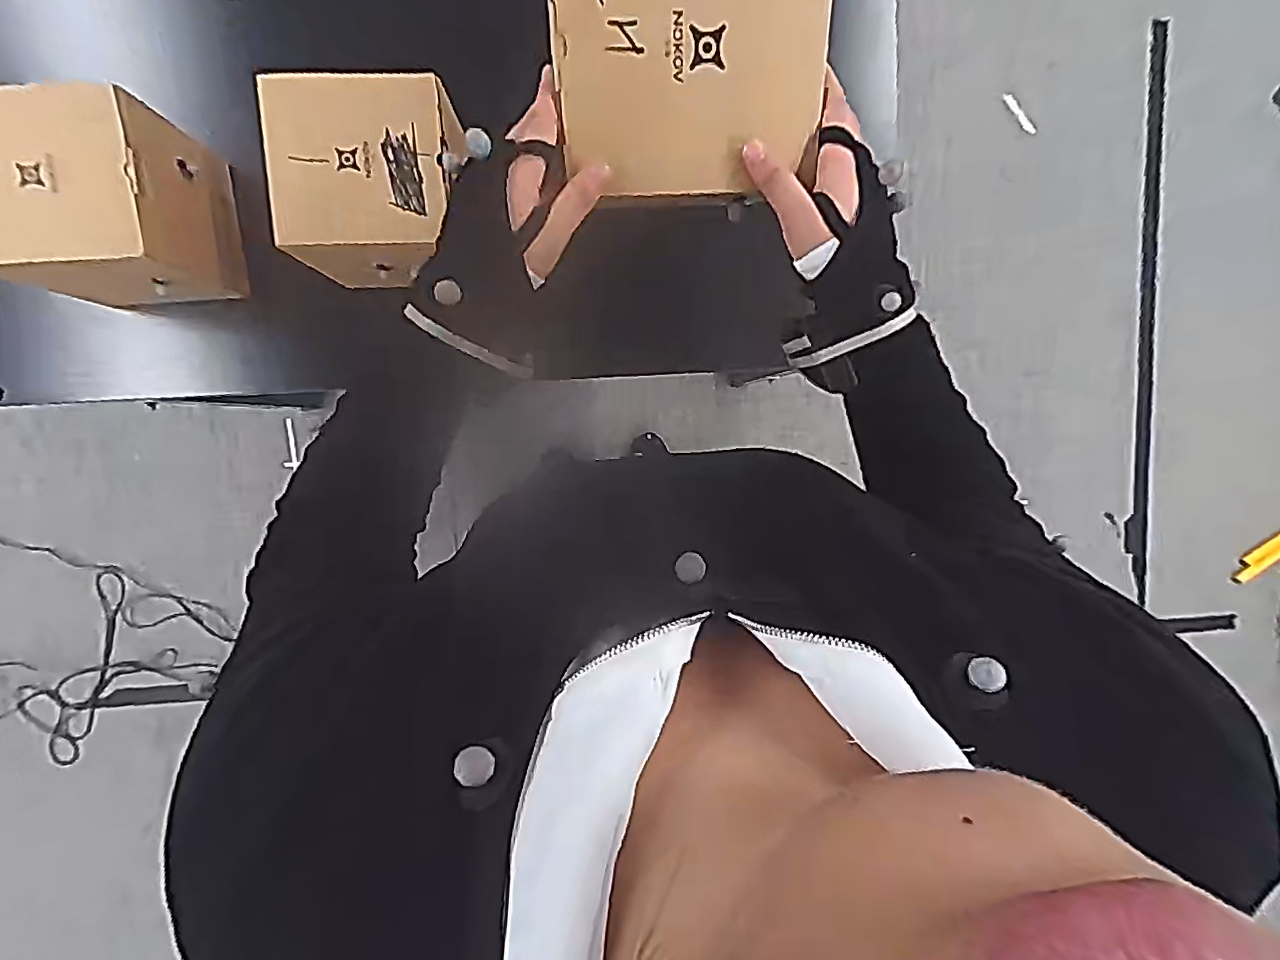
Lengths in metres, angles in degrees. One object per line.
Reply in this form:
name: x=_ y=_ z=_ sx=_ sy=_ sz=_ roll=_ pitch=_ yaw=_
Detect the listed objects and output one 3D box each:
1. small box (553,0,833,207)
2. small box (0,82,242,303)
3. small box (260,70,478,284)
small box: x=0.026 y=-0.304 z=0.411 sx=0.179 sy=0.176 sz=0.168 roll=-4 pitch=115 yaw=-4
small box: x=-0.584 y=-0.303 z=0.602 sx=0.179 sy=0.176 sz=0.168 roll=-6 pitch=95 yaw=-4
small box: x=-0.291 y=-0.332 z=0.624 sx=0.179 sy=0.176 sz=0.168 roll=-3 pitch=96 yaw=-4
